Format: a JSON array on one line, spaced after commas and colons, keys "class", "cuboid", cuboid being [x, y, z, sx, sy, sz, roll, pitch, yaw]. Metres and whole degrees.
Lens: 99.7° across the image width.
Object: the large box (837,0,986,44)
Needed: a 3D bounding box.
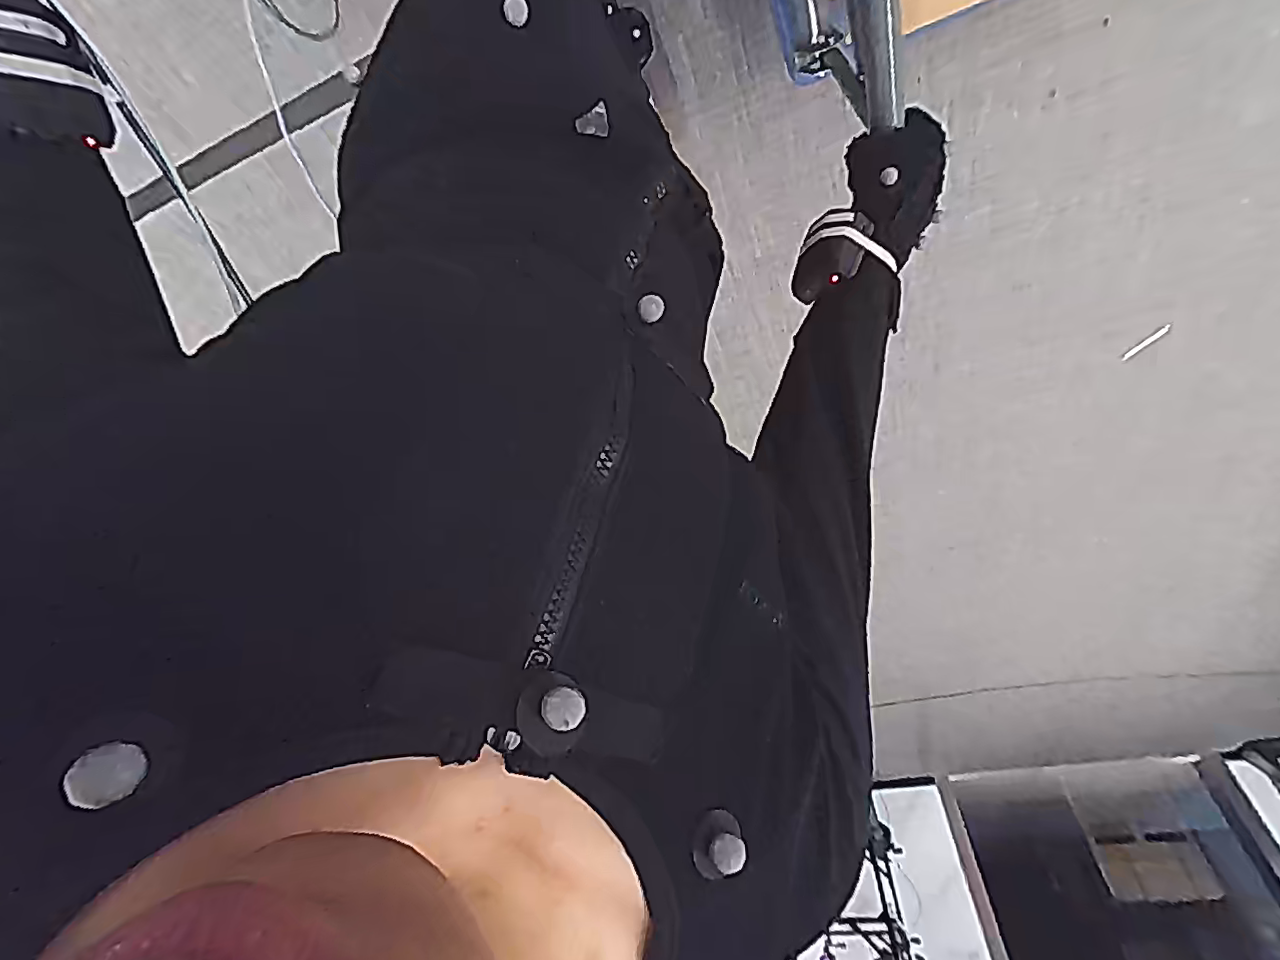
[{"class": "large box", "cuboid": [0.392, -0.854, 0.639, 0.320, 0.320, 0.408, -15, 138, 18]}]
